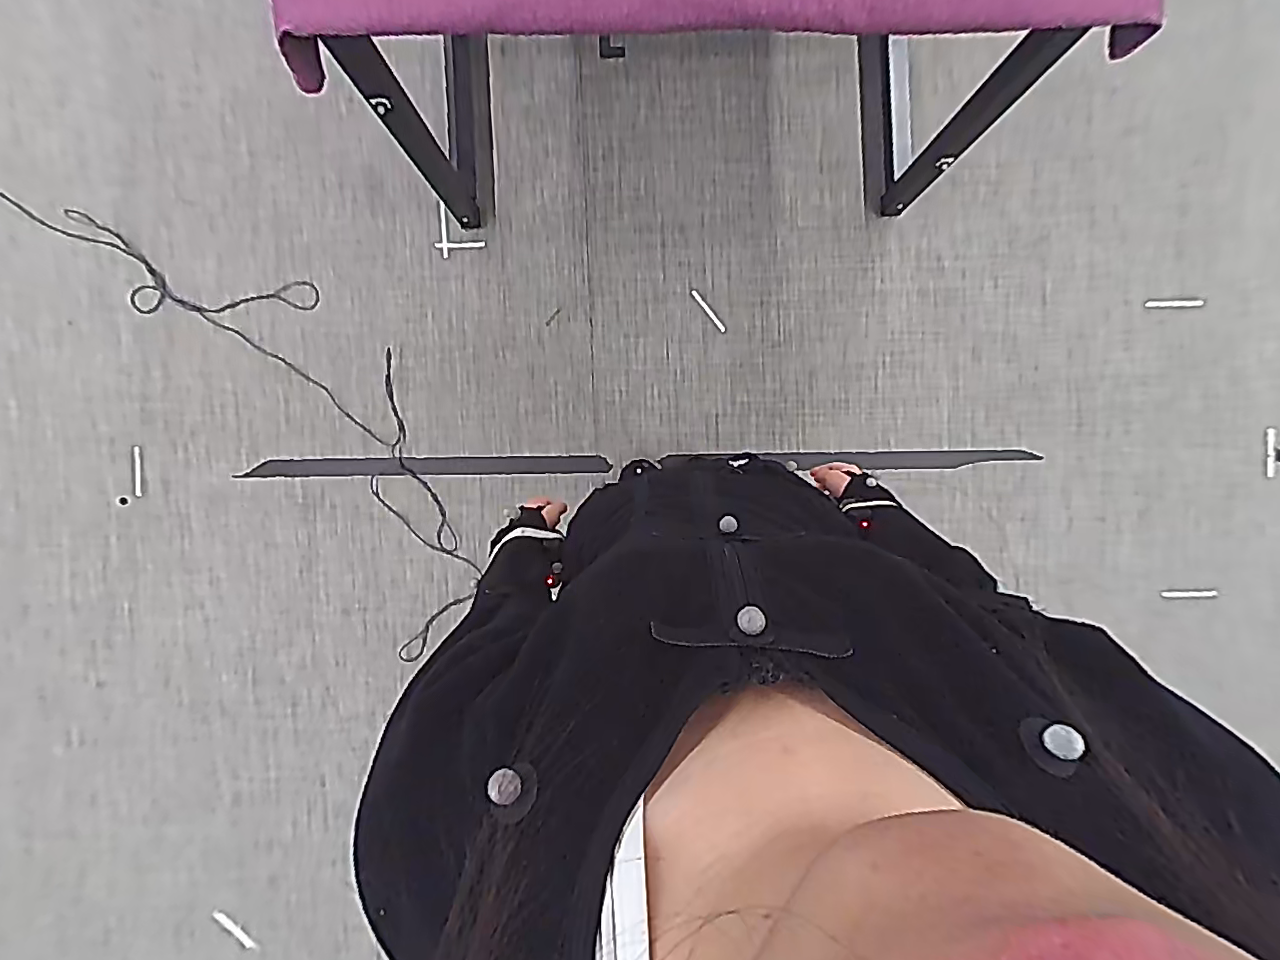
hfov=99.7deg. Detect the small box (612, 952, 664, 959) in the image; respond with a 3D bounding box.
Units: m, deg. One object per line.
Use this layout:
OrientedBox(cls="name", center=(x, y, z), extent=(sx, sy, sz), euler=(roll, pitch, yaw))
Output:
OrientedBox(cls="small box", center=(0.000, 1.409, 1.422), extent=(0.168, 0.176, 0.179), euler=(-11, 91, -1))
